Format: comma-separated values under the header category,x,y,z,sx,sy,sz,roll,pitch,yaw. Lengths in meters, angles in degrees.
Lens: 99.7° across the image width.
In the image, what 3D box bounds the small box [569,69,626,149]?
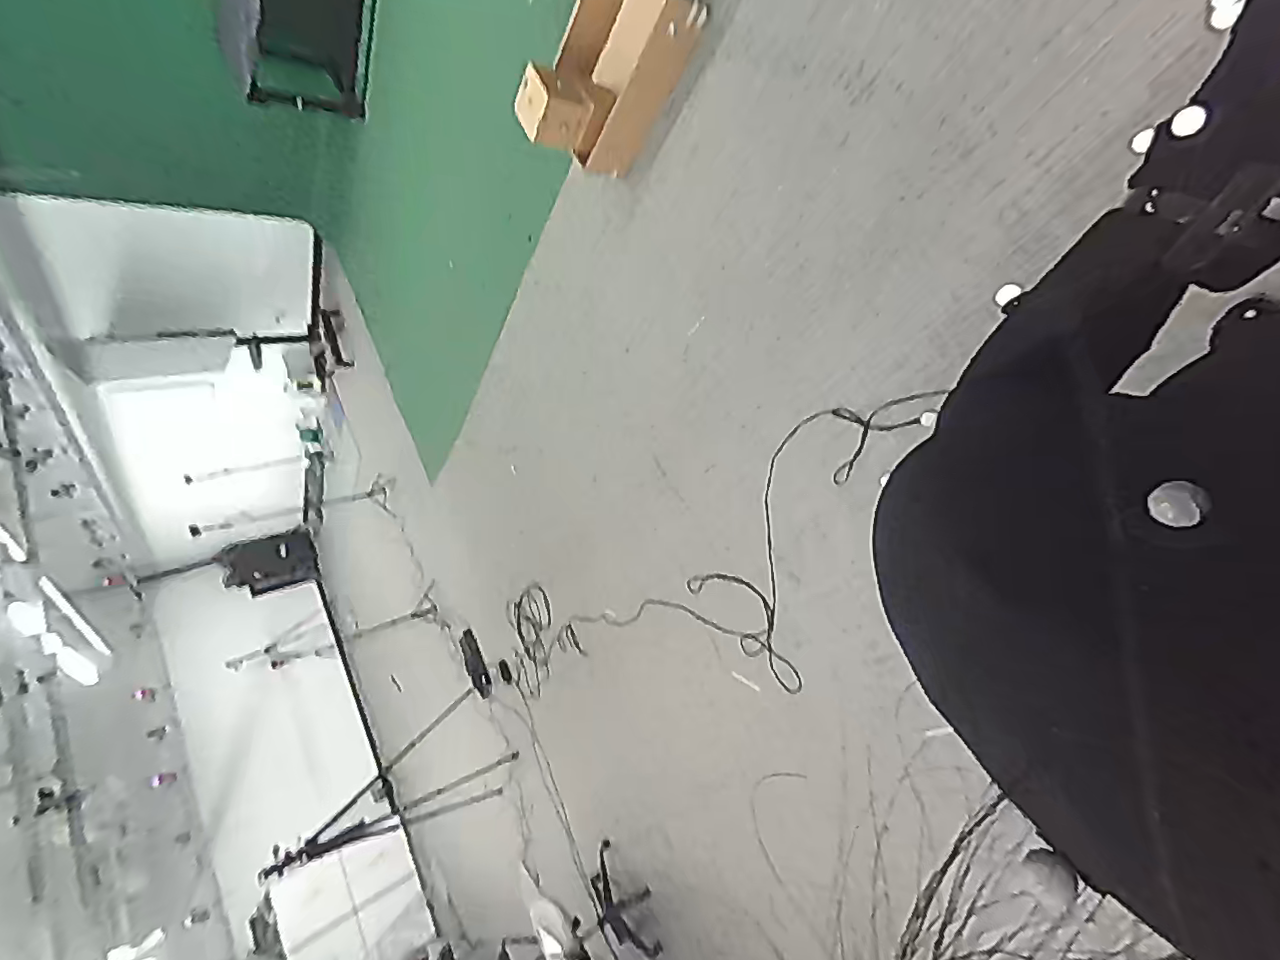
category,x,y,z,sx,sy,sz,roll,pitch,yaw
small box,-0.181,-1.337,1.963,0.179,0.176,0.168,59,139,15

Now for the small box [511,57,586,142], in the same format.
category,x,y,z,sx,sy,sz,roll,pitch,yaw
small box,-0.314,-1.306,1.869,0.168,0.176,0.179,-41,72,48
